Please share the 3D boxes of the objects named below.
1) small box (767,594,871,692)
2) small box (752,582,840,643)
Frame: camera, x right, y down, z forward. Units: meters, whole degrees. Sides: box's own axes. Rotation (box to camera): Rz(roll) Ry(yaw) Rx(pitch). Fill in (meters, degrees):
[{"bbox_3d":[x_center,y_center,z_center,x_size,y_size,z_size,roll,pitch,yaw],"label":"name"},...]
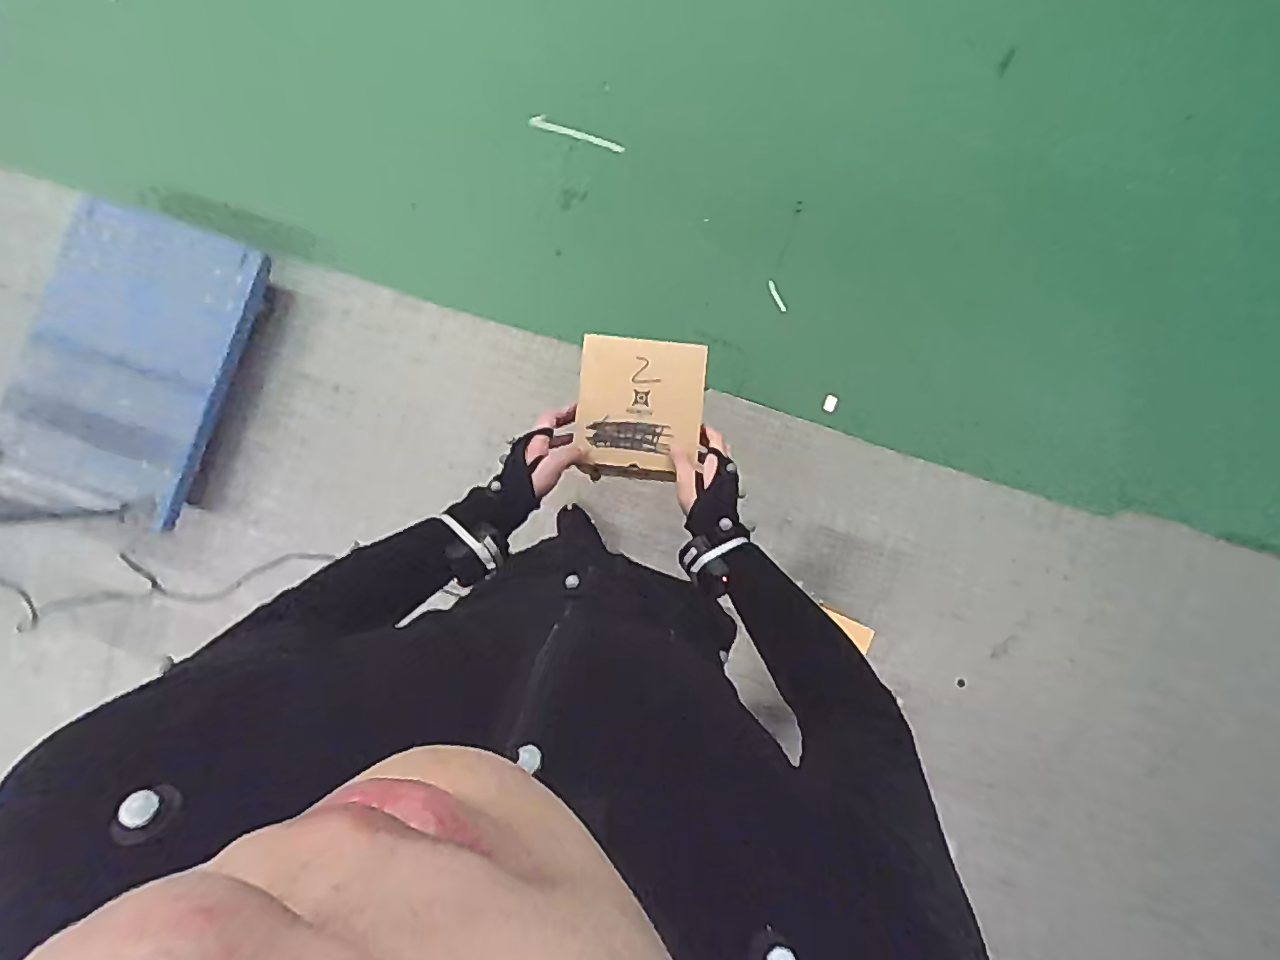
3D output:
[{"bbox_3d":[0.450,0.406,1.384,0.179,0.176,0.168,24,88,2],"label":"small box"},{"bbox_3d":[0.441,0.405,1.562,0.179,0.176,0.168,23,88,2],"label":"small box"}]
